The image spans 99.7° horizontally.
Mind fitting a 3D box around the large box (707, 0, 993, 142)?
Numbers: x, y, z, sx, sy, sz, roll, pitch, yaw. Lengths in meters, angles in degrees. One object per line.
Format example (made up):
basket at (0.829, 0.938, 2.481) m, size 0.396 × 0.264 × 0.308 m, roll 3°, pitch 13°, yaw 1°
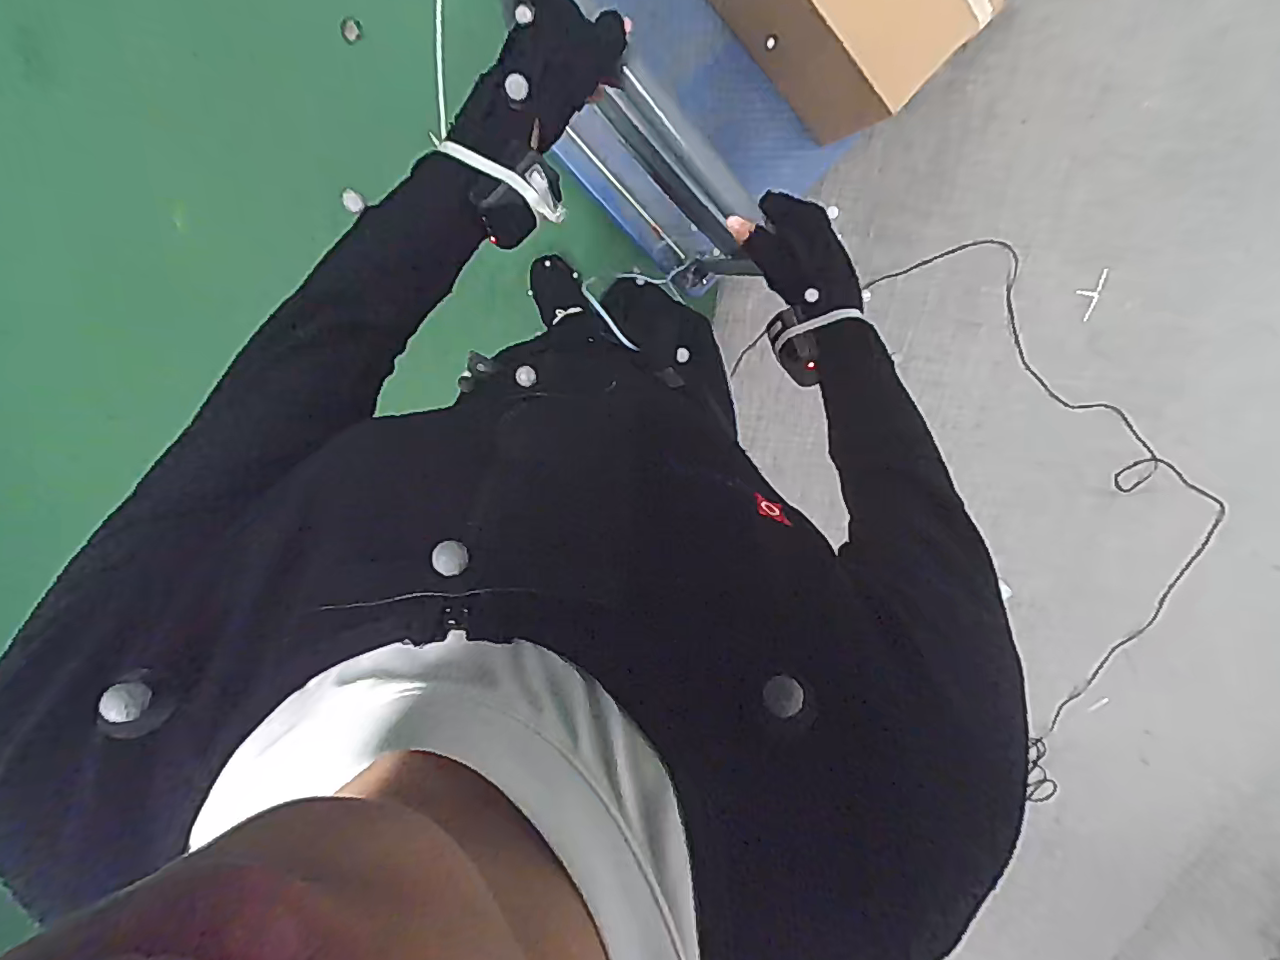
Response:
large box at (0.323, -0.826, 0.837) m, size 0.408 × 0.320 × 0.320 m, roll 41°, pitch 106°, yaw -17°
